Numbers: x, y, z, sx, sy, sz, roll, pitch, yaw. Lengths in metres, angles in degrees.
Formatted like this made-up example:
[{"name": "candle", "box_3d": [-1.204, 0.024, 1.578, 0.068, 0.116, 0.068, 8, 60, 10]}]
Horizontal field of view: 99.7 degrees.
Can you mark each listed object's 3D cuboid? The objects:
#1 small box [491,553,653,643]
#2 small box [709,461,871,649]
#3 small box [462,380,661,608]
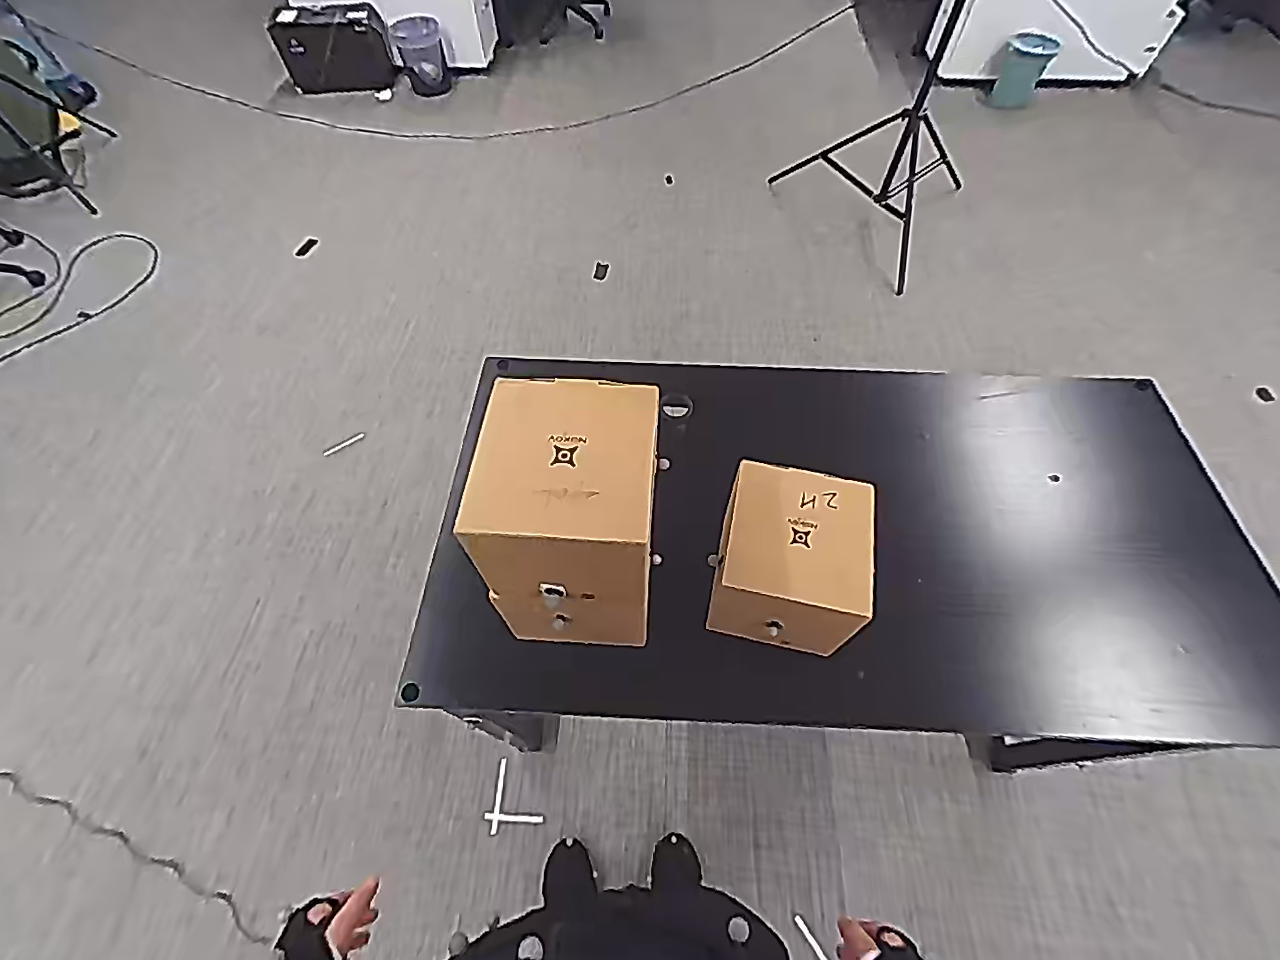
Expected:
[{"name": "small box", "box_3d": [-0.074, 0.107, 0.706, 0.179, 0.176, 0.168, 2, 58, 2]}, {"name": "small box", "box_3d": [0.188, 0.104, 0.706, 0.168, 0.176, 0.179, 12, 58, 7]}, {"name": "small box", "box_3d": [-0.067, 0.019, 0.568, 0.168, 0.176, 0.179, 2, 59, 2]}]
